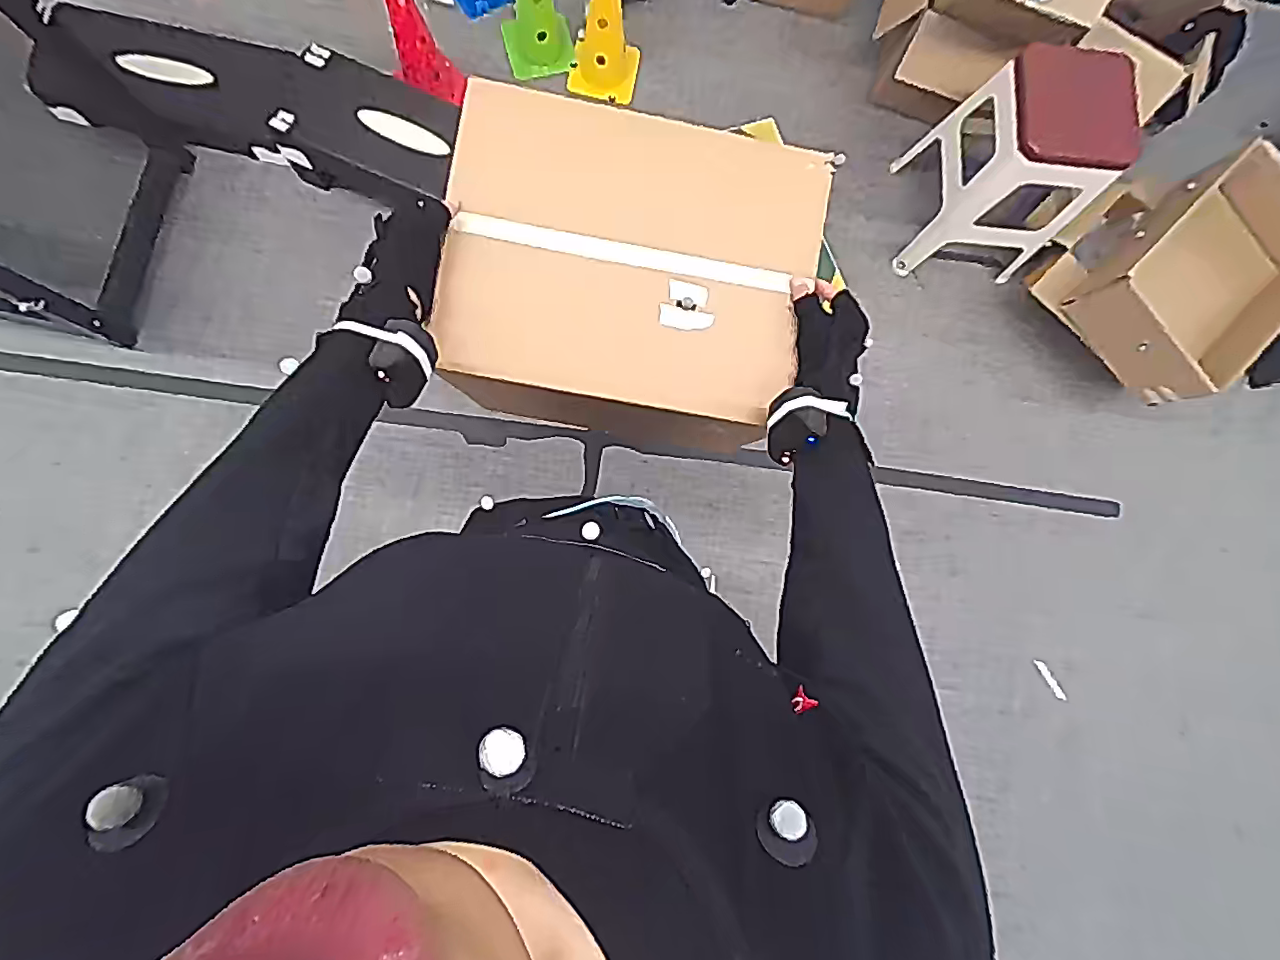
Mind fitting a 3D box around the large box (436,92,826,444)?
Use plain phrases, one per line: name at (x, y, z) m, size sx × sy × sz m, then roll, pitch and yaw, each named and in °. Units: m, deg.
large box at (-0.016, -0.242, 0.744) m, size 0.408 × 0.320 × 0.320 m, roll 9°, pitch 88°, yaw -4°
